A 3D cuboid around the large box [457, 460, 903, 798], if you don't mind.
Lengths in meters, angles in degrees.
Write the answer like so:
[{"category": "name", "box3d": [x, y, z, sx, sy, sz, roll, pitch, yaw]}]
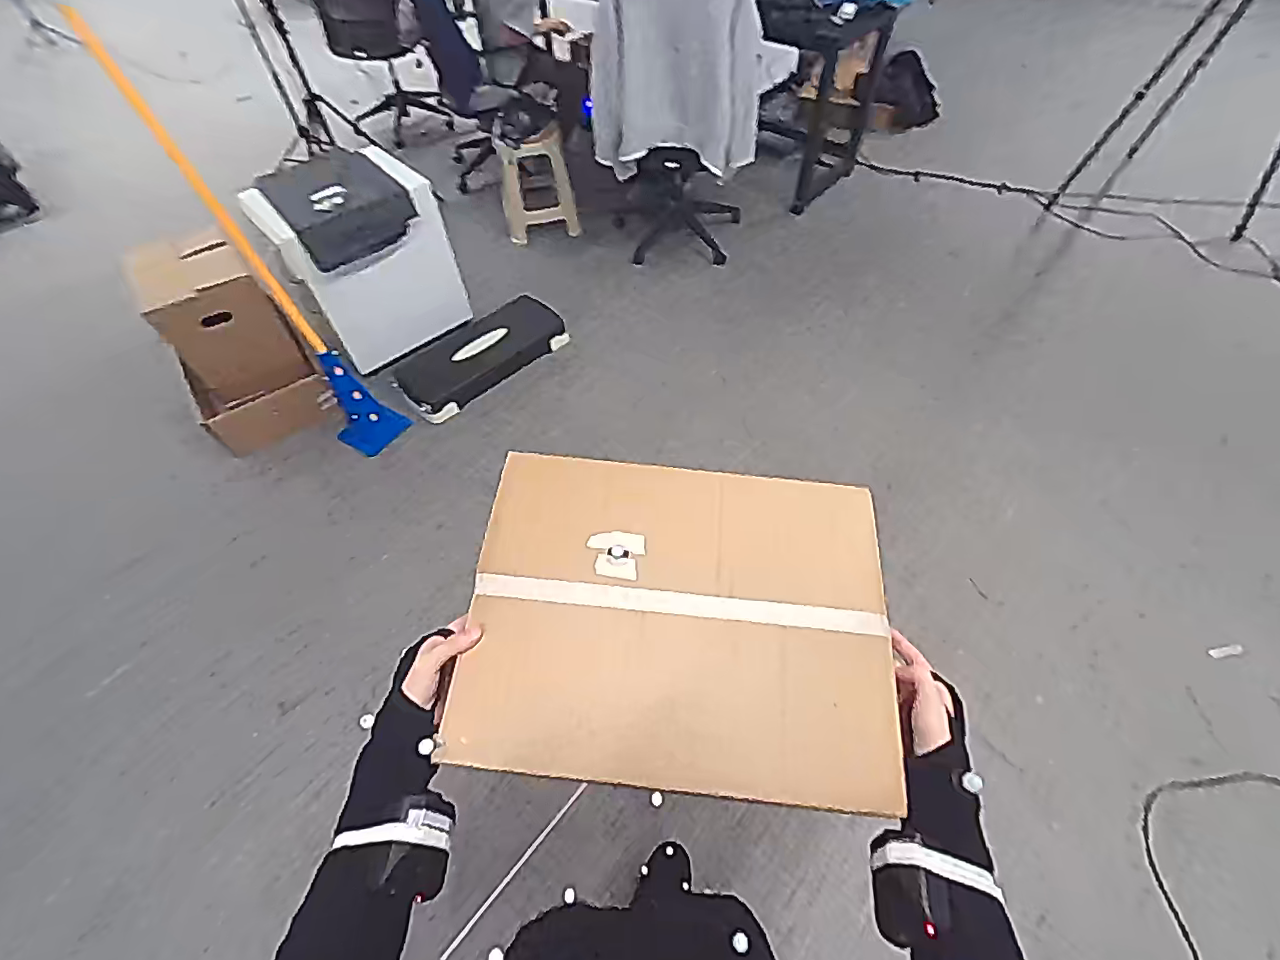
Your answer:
[{"category": "large box", "box3d": [0.047, 0.195, 0.677, 0.408, 0.320, 0.320, 5, 61, 3]}]
